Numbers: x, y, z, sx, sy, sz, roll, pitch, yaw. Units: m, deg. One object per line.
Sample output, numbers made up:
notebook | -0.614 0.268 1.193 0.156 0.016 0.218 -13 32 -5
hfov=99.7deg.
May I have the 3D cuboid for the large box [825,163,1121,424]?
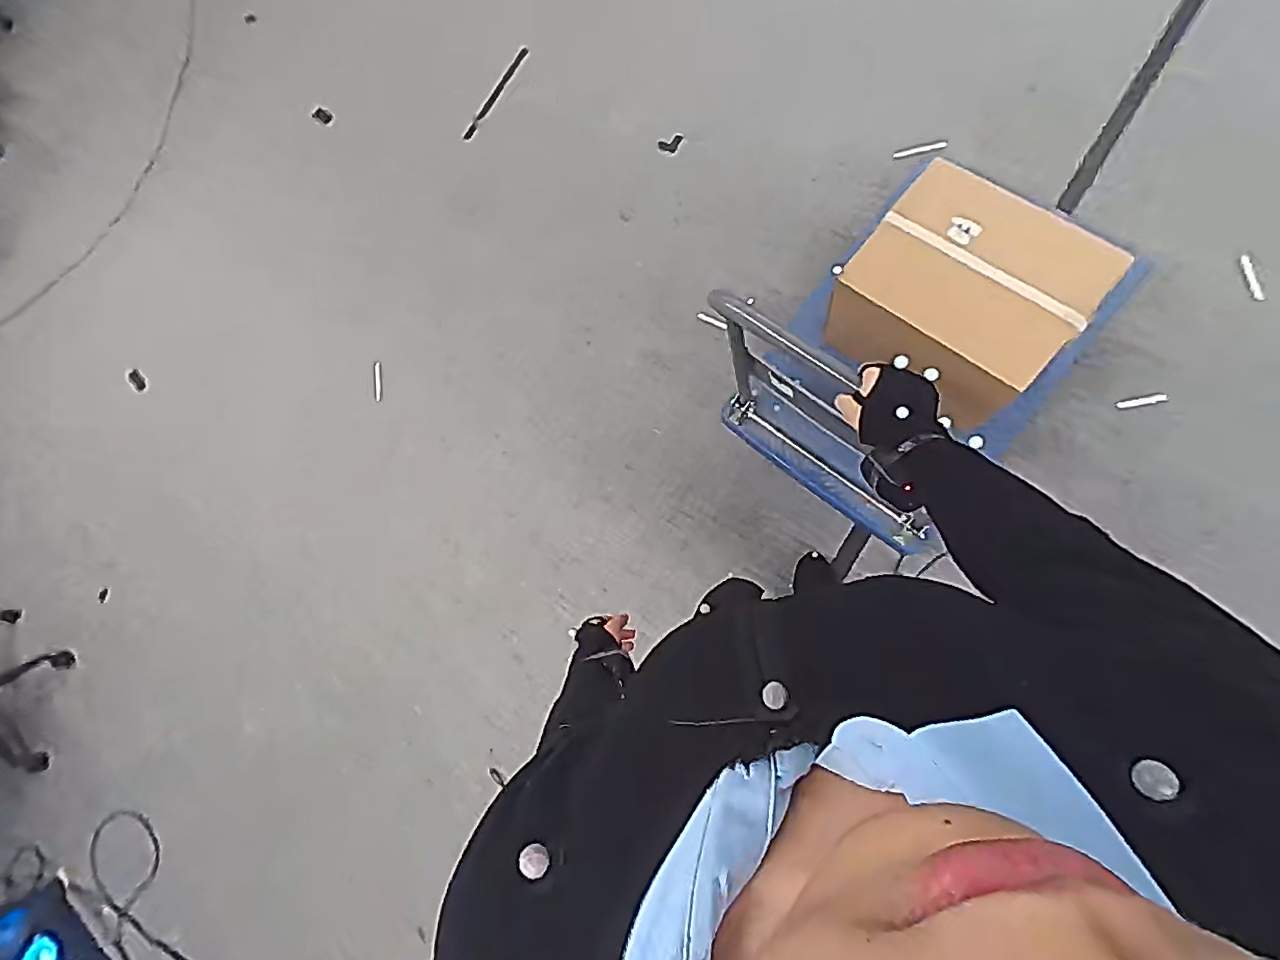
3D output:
large box | 0.670 -0.383 1.178 0.408 0.320 0.320 39 91 18
